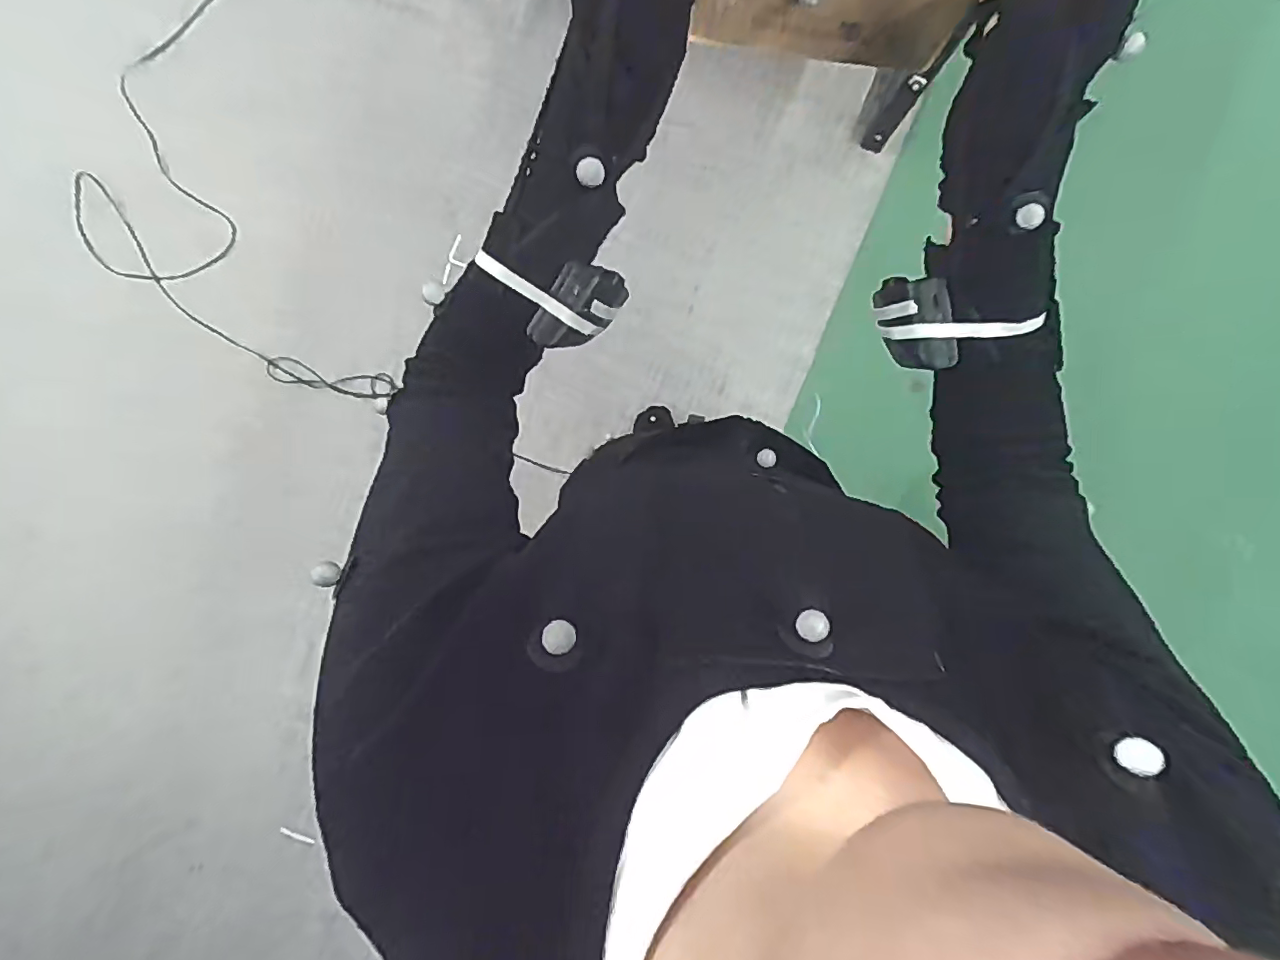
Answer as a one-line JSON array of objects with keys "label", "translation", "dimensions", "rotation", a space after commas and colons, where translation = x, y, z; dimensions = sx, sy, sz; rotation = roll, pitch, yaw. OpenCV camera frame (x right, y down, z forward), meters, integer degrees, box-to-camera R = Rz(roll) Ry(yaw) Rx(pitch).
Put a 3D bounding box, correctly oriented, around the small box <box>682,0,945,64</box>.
[{"label": "small box", "translation": [0.116, -0.382, 0.292], "dimensions": [0.168, 0.176, 0.179], "rotation": [7, 91, 0]}]
